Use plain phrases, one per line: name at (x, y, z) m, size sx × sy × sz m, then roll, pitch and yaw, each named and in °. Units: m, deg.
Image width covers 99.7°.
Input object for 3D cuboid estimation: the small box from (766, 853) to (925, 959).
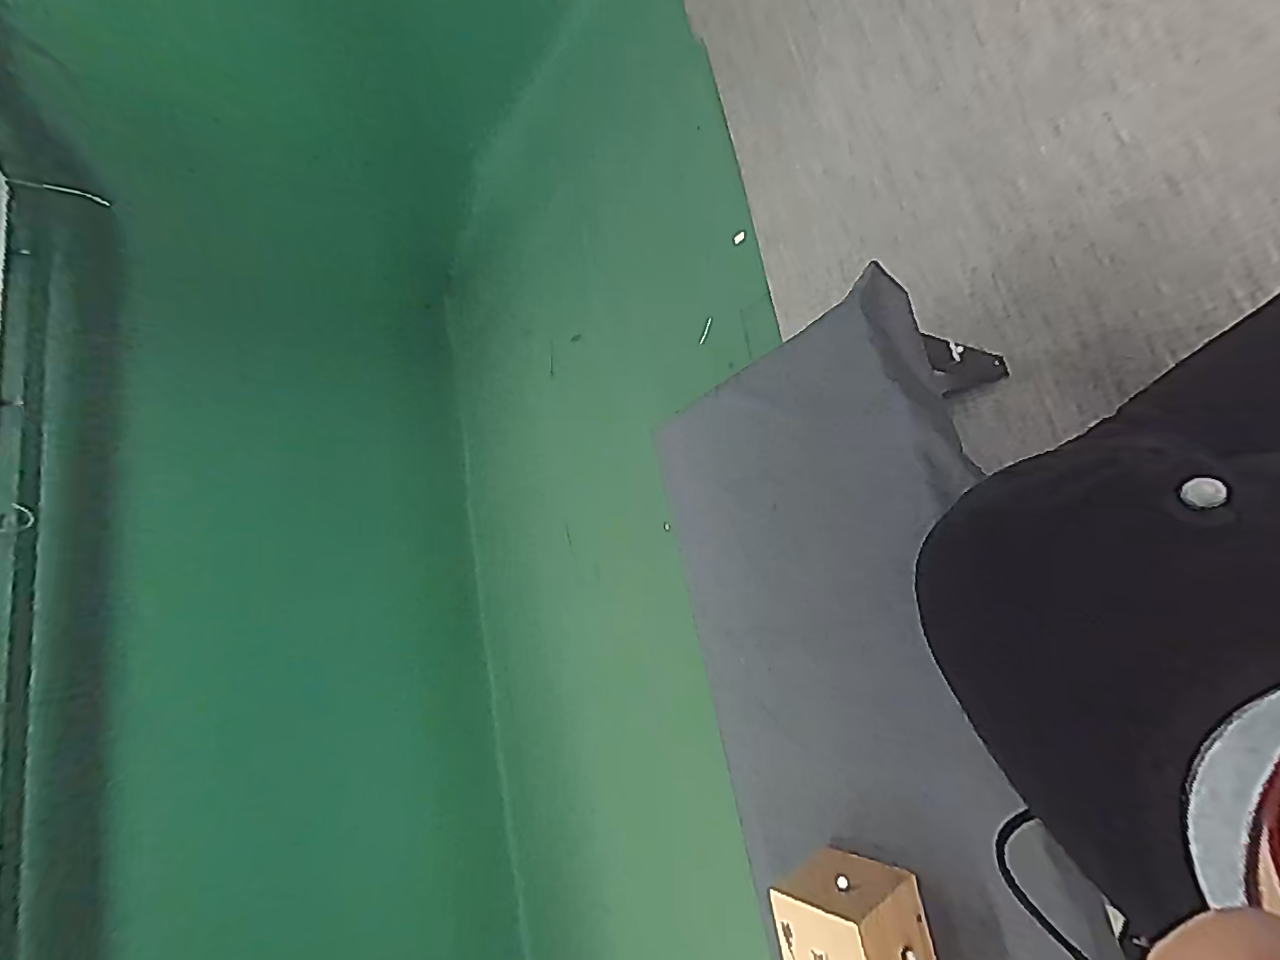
small box at (0.340, 0.747, 0.883) m, size 0.179 × 0.176 × 0.168 m, roll -24°, pitch 71°, yaw 49°
